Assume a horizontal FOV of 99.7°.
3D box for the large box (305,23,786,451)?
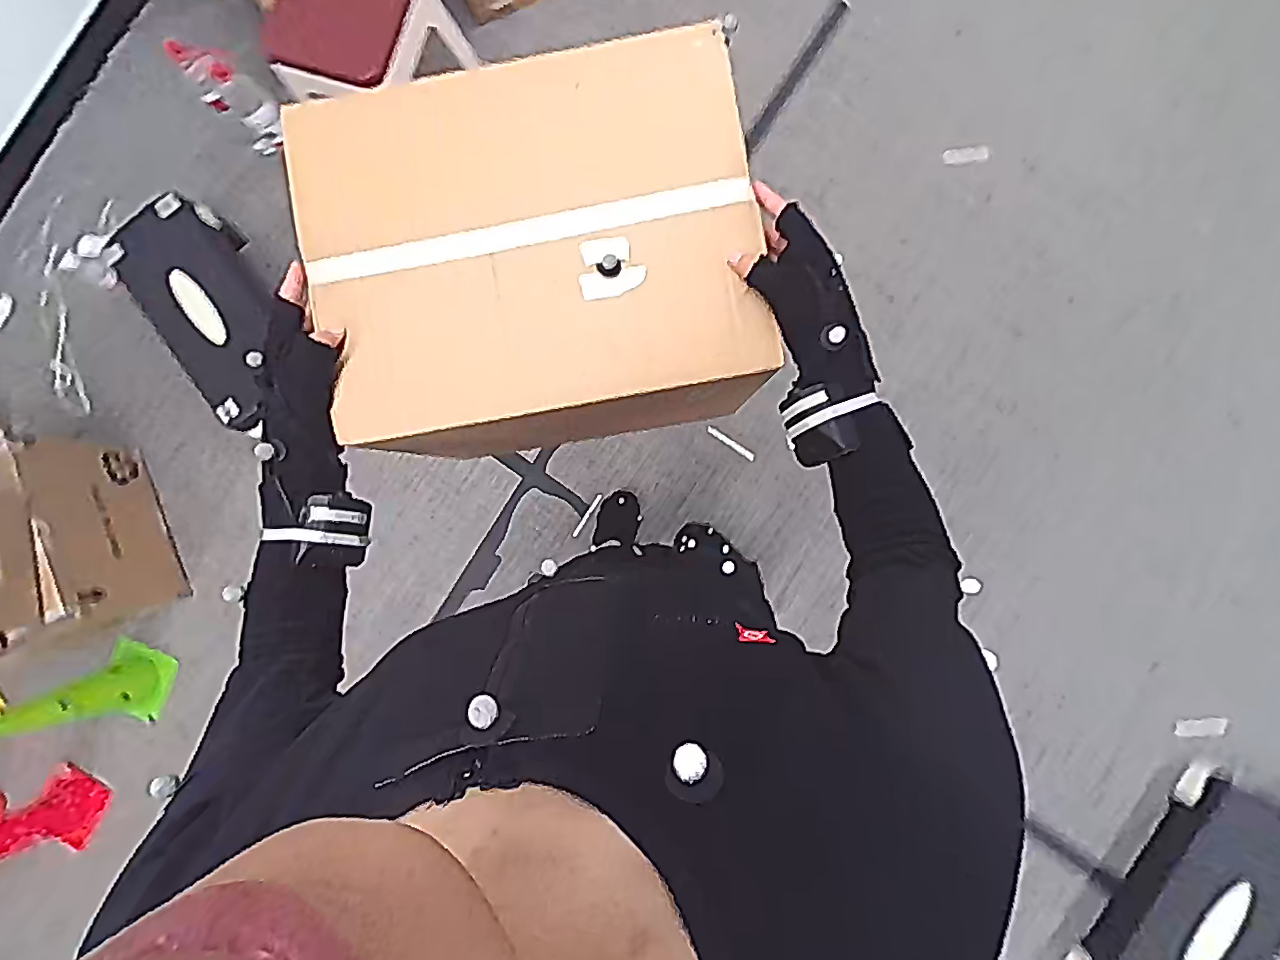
[{"bbox_3d":[-0.086,-0.225,0.634,0.408,0.320,0.320,-9,90,1],"label":"large box"}]
